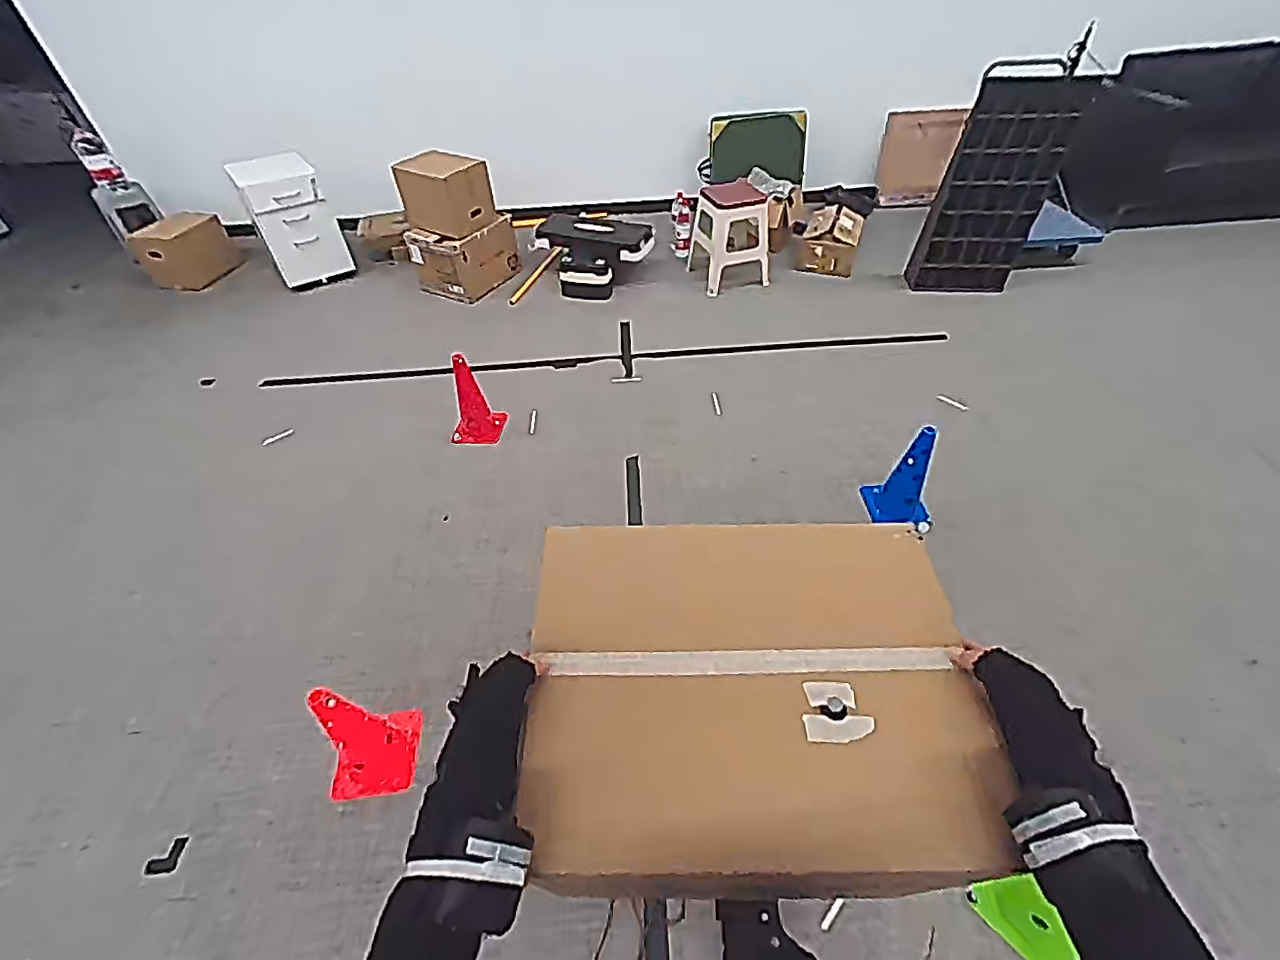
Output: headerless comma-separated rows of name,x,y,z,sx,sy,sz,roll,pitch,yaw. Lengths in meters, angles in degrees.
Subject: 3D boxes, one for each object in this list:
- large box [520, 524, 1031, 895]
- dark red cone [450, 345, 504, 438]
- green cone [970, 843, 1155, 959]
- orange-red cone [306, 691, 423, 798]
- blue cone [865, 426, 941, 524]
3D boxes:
large box,0.101,0.266,0.620,0.408,0.320,0.320,0,50,0
dark red cone,-0.688,-0.358,2.164,0.201,0.394,0.202,1,46,2
green cone,0.828,0.766,1.014,0.202,0.368,0.200,-32,53,-27
orange-red cone,-0.677,0.586,1.270,0.198,0.360,0.199,-6,47,-2
blue cone,0.912,-0.028,1.816,0.192,0.380,0.193,-1,46,0
